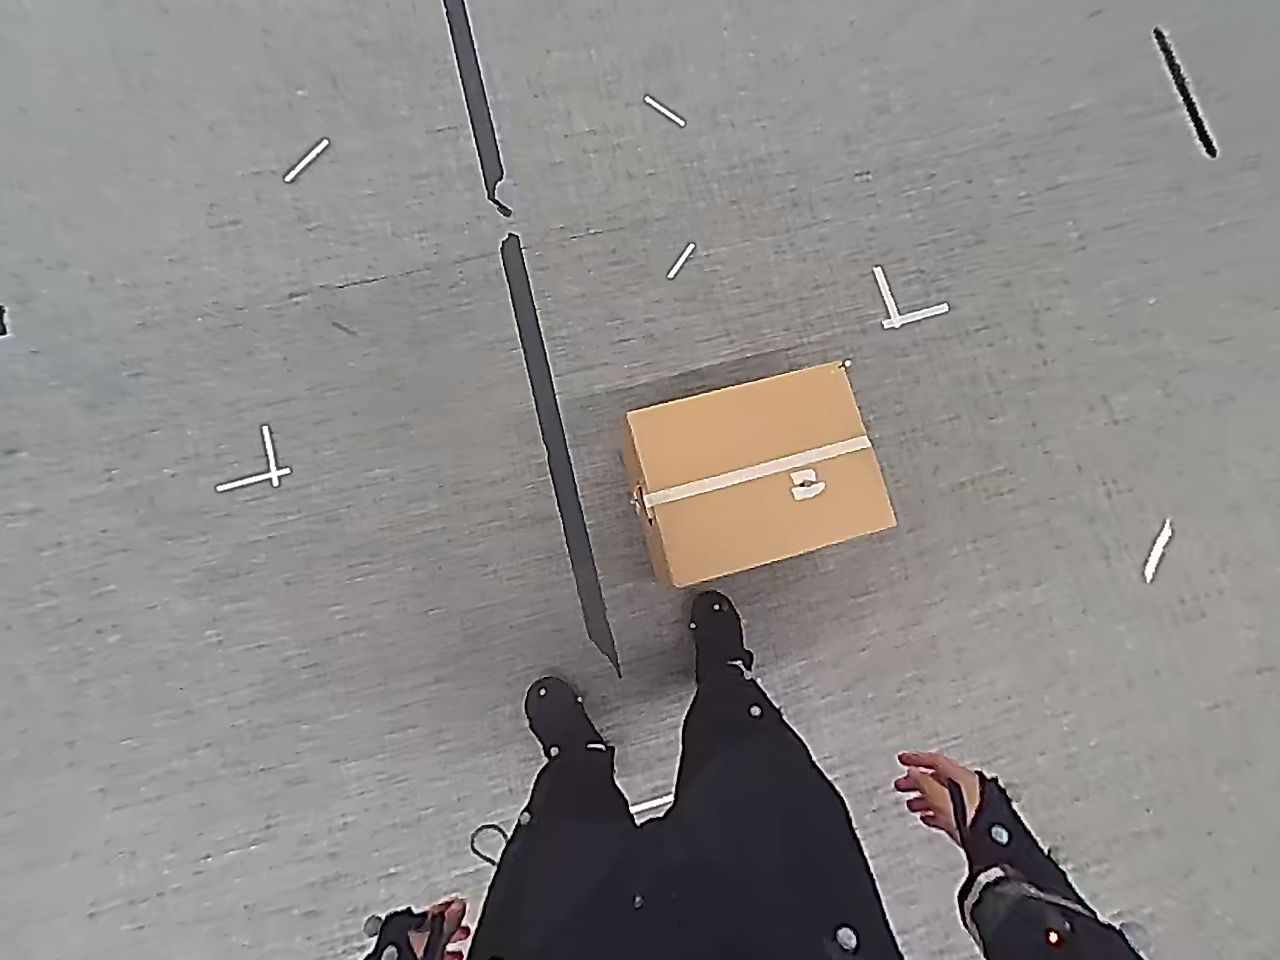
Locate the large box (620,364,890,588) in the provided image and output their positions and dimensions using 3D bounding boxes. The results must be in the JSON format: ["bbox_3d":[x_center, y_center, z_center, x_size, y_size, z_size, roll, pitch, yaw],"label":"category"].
[{"bbox_3d":[0.195,0.008,1.083,0.408,0.320,0.320,-15,84,-7],"label":"large box"}]
